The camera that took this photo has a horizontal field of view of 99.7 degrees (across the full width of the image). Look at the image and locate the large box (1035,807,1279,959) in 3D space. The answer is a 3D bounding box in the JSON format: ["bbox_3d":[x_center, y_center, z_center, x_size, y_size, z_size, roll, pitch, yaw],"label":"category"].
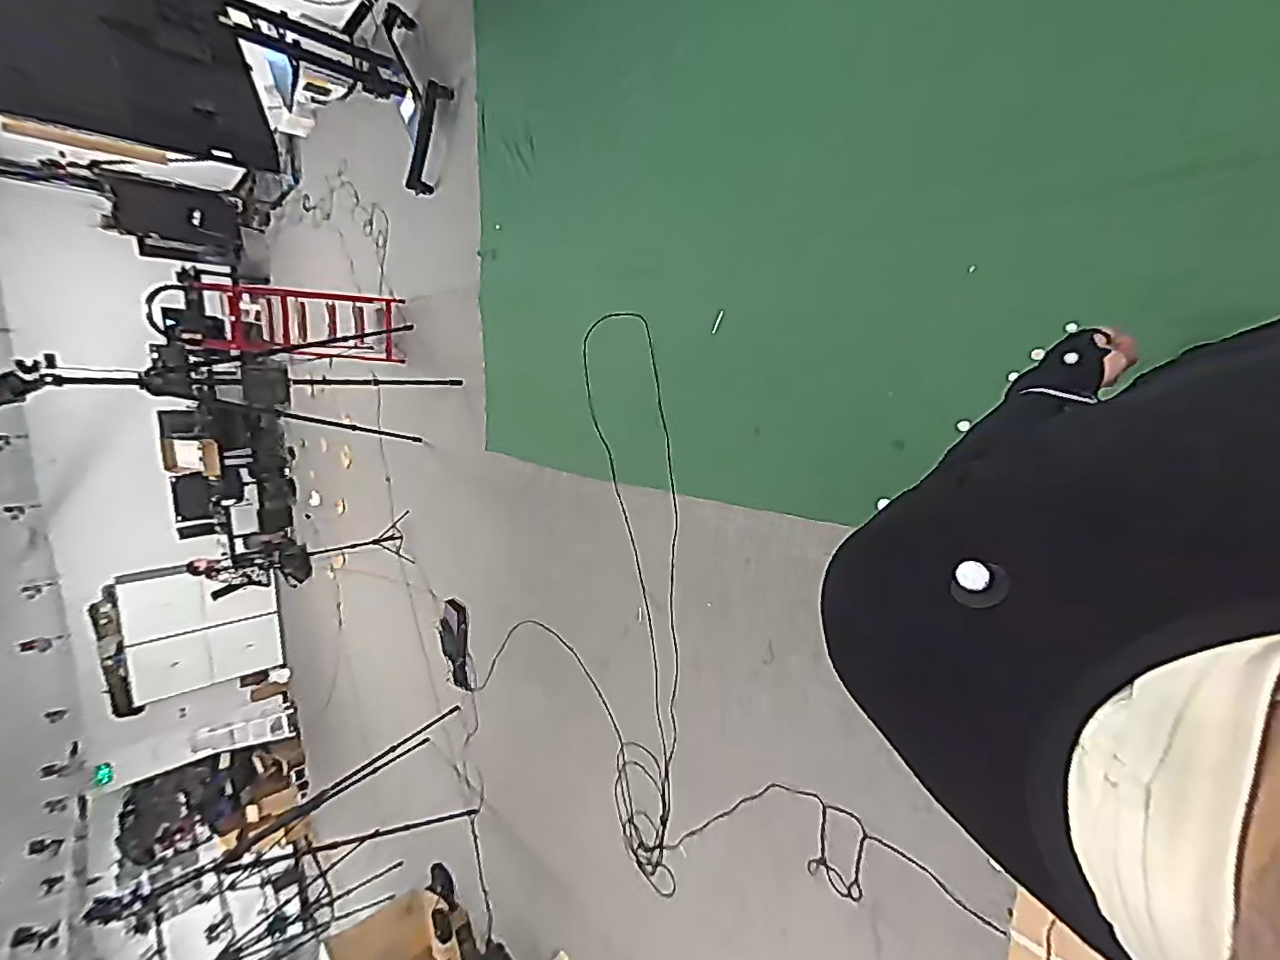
[{"bbox_3d":[1.153,1.032,1.200,0.408,0.320,0.320,8,102,45],"label":"large box"}]
